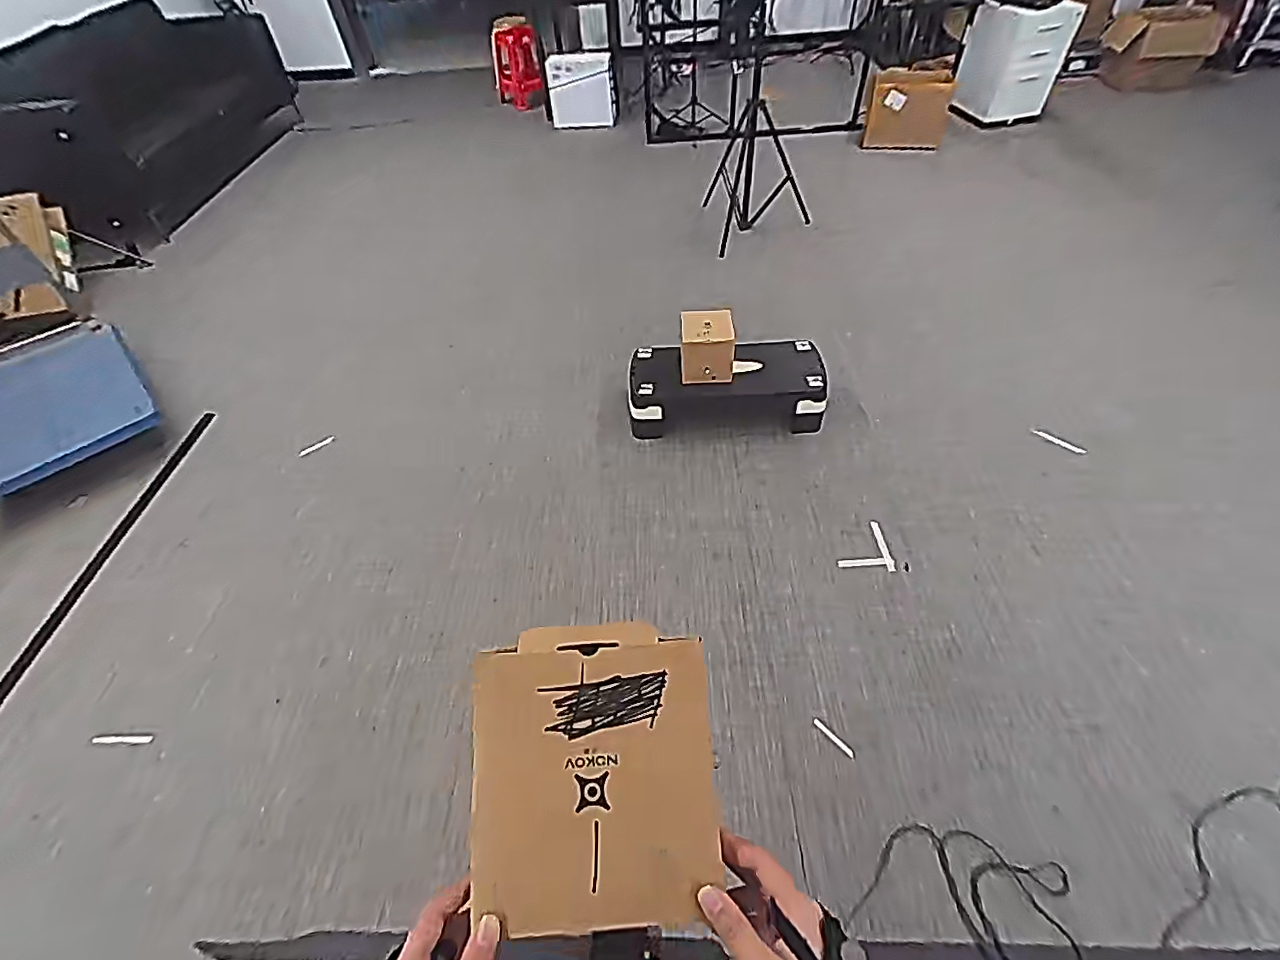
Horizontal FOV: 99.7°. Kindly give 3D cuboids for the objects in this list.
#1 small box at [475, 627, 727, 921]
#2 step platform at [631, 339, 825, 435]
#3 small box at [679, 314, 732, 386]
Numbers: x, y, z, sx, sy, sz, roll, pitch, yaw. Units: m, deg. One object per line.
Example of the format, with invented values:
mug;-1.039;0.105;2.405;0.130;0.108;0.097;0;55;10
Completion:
small box;-0.030;0.221;0.449;0.168;0.176;0.179;-3;72;-1
step platform;0.307;-0.339;1.955;0.684;0.204;0.286;-3;49;3
small box;0.214;-0.435;1.815;0.168;0.176;0.179;-2;50;4
